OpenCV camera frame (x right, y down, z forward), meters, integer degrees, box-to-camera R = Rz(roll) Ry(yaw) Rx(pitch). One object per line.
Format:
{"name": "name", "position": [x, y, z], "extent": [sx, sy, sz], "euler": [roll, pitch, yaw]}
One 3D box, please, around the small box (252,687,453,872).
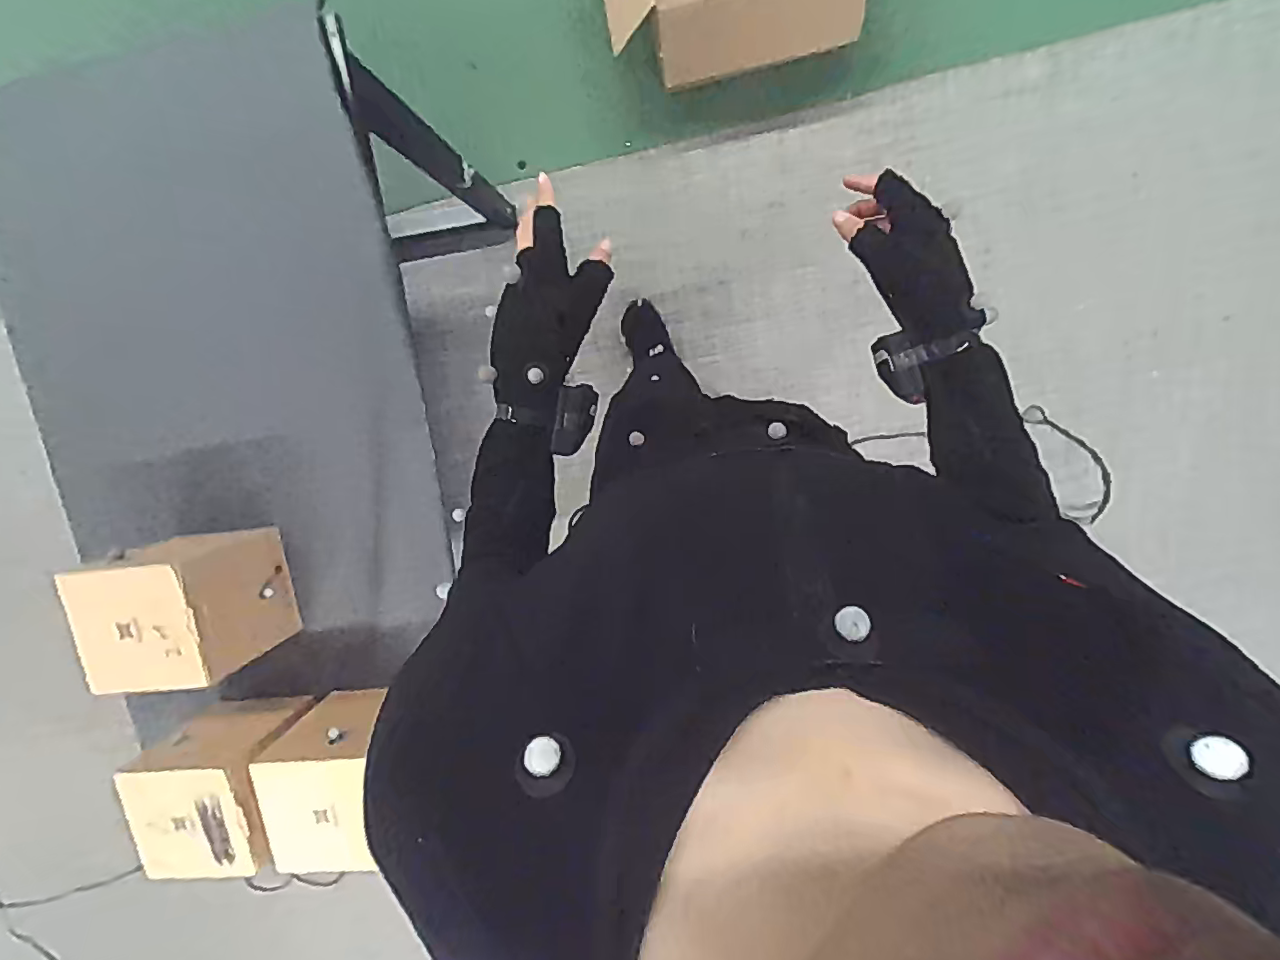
{"name": "small box", "position": [-0.396, 0.416, 0.772], "extent": [0.179, 0.176, 0.168], "euler": [-6, 100, 6]}

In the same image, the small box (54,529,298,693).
{"name": "small box", "position": [-0.625, 0.173, 0.752], "extent": [0.179, 0.176, 0.168], "euler": [-6, 100, 6]}
